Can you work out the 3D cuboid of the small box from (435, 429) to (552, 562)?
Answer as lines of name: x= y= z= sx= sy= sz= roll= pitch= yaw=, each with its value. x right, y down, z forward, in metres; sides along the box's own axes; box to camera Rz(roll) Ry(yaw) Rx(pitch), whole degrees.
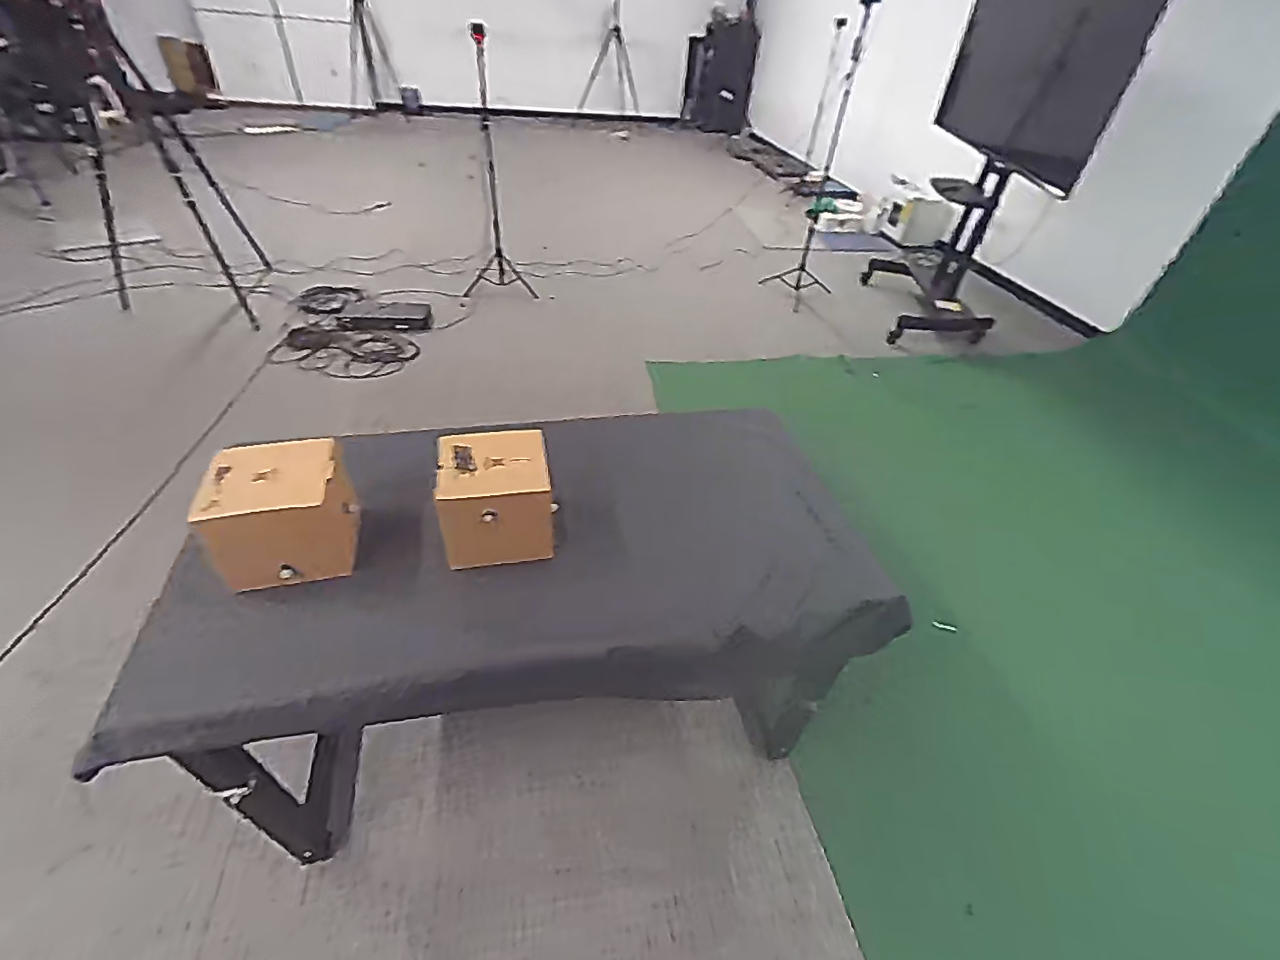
small box: x=-0.254 y=0.029 z=0.955 sx=0.179 sy=0.176 sz=0.168 roll=-5 pitch=43 yaw=-13

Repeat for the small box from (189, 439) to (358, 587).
small box: x=-0.580 y=0.053 z=0.890 sx=0.179 sy=0.176 sz=0.168 roll=-7 pitch=43 yaw=-15
